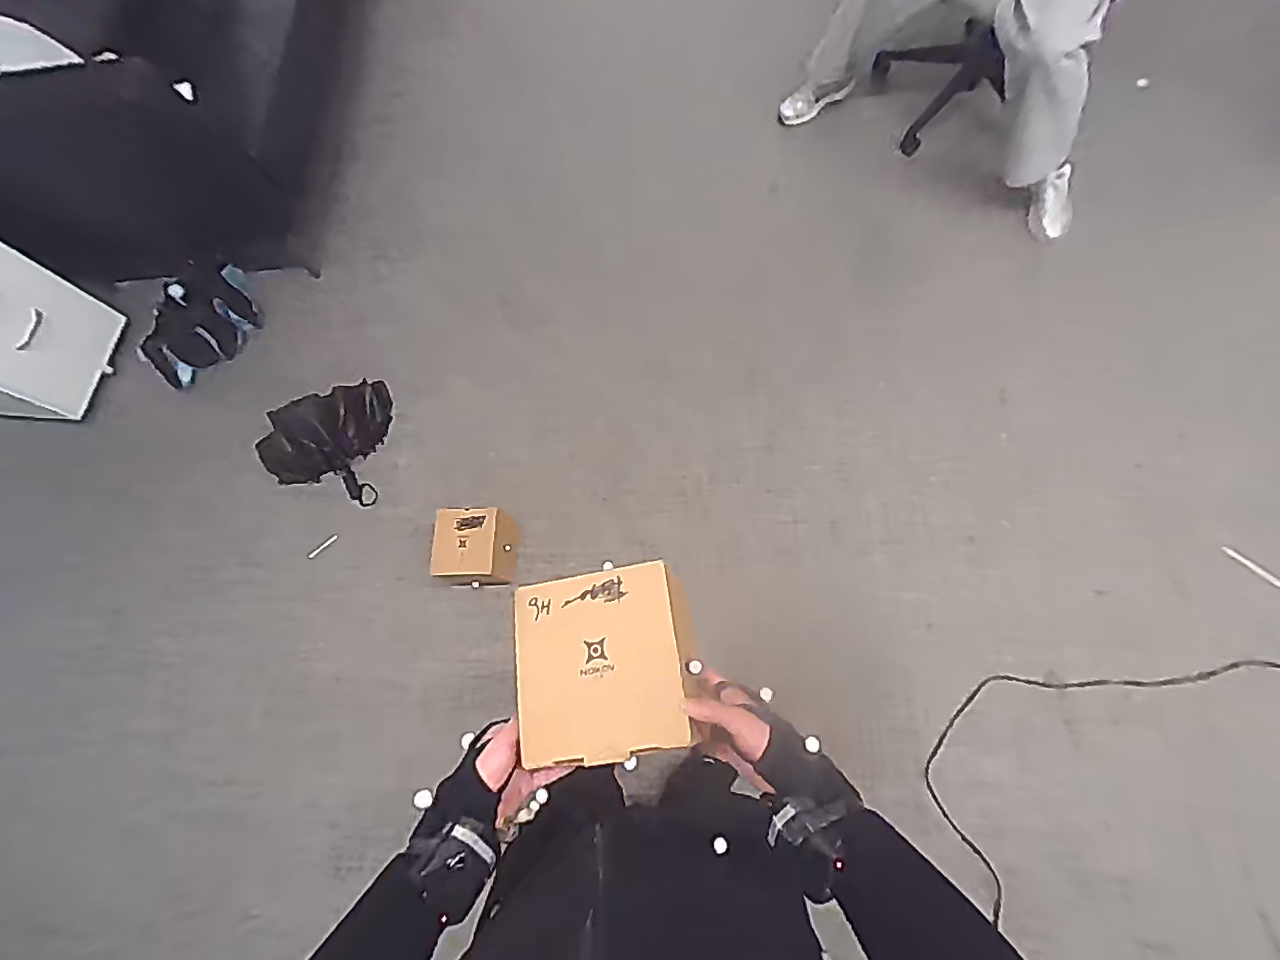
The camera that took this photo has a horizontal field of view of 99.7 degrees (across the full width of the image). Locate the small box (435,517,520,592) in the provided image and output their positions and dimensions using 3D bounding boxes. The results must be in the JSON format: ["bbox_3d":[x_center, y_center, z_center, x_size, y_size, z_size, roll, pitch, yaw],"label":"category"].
[{"bbox_3d":[-0.432,0.206,1.469,0.168,0.176,0.179,-3,72,8],"label":"small box"}]
